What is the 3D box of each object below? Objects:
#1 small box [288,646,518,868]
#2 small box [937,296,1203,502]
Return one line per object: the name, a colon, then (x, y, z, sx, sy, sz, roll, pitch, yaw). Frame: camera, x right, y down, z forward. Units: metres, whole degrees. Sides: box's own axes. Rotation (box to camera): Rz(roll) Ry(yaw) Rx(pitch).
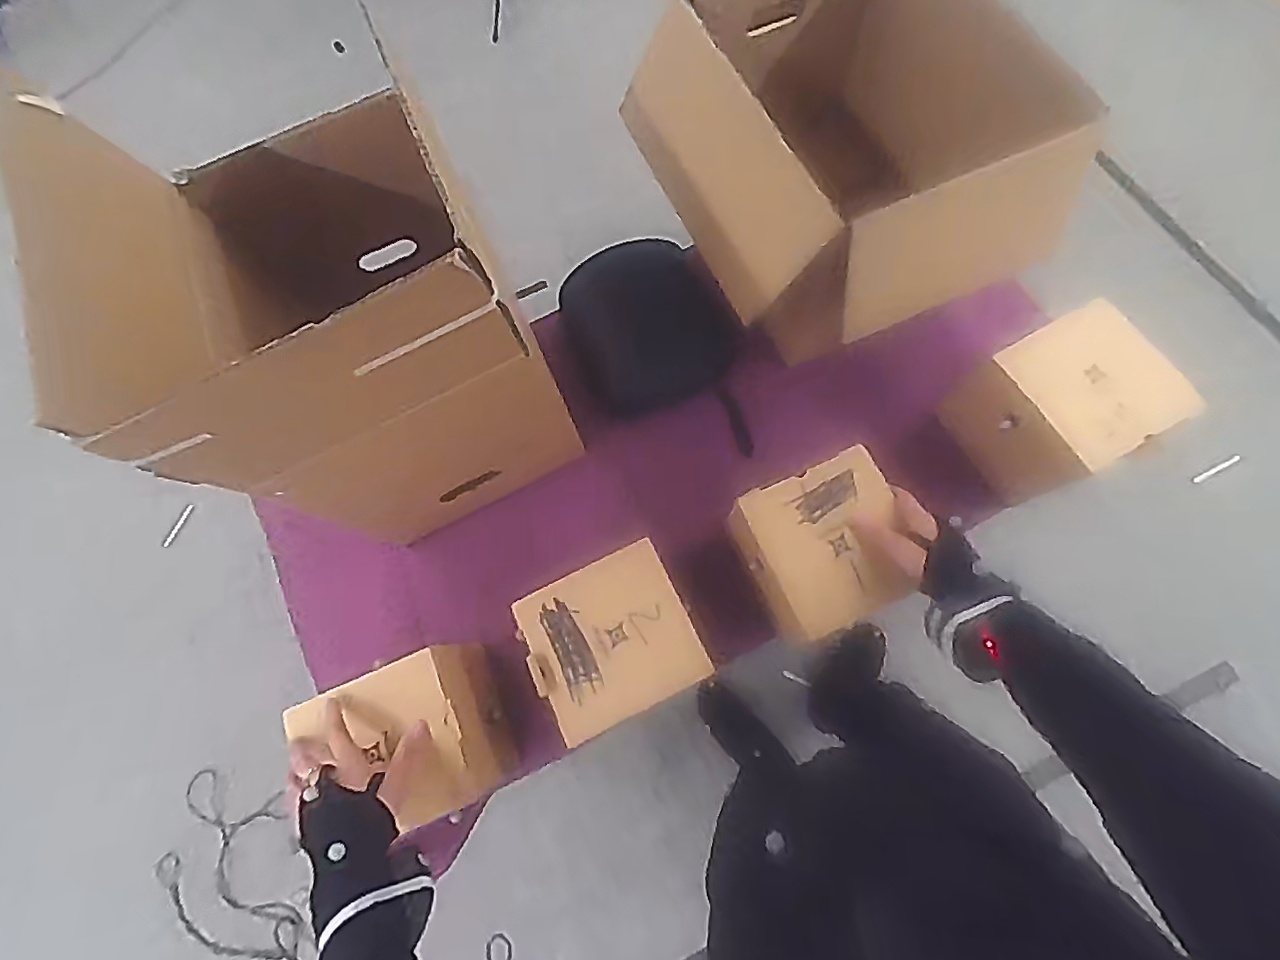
small box: (-0.270, 0.313, 0.649, 0.179, 0.176, 0.168, -23, 73, -4)
small box: (0.536, -0.096, 0.708, 0.168, 0.176, 0.179, -29, 74, -3)
